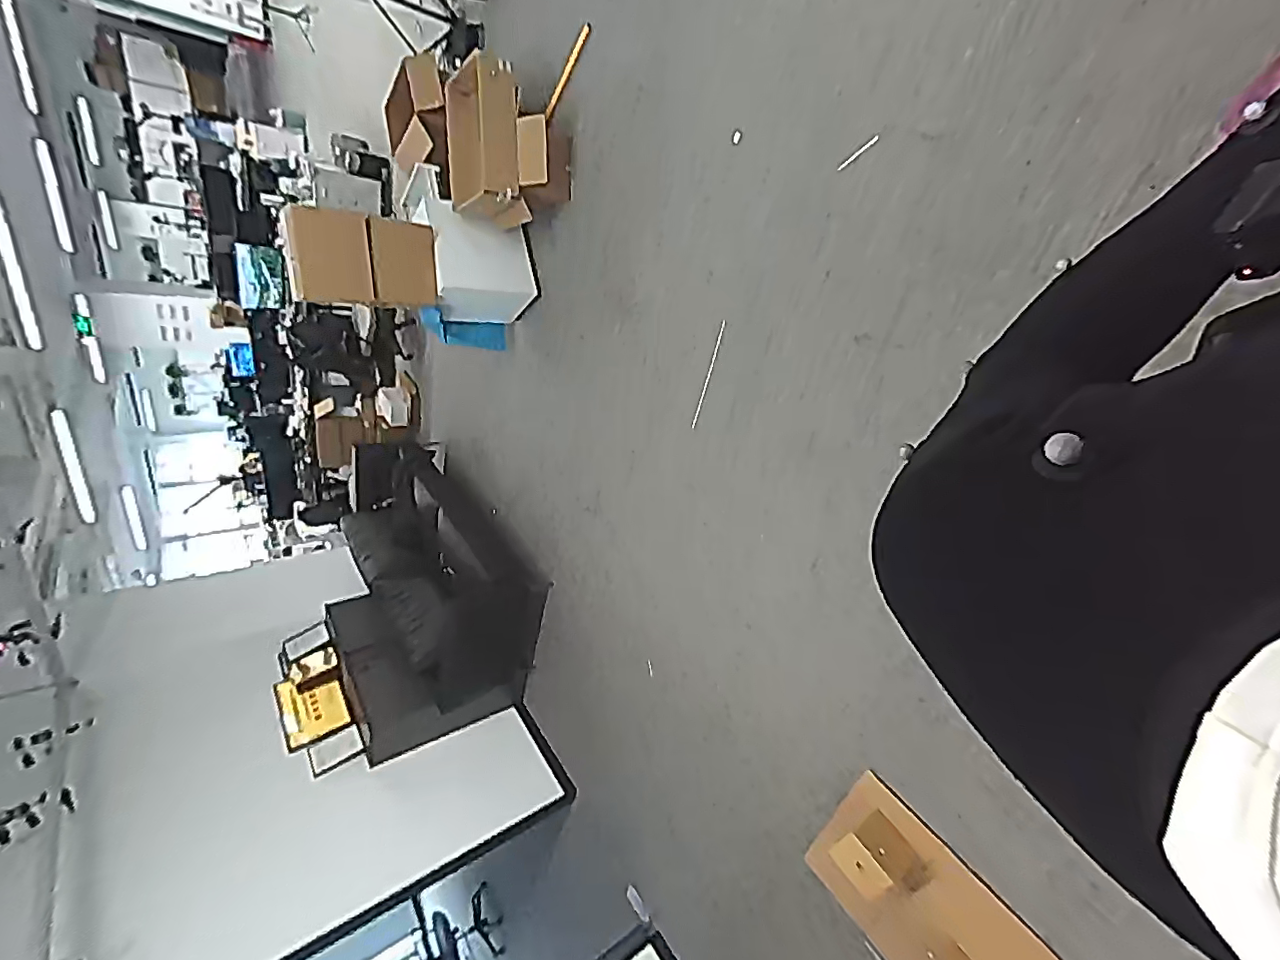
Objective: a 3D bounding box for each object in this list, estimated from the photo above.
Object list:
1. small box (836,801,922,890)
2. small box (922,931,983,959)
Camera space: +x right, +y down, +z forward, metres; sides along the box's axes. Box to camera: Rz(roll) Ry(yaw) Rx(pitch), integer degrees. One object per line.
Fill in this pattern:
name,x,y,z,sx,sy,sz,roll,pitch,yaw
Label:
small box,0.817,1.239,1.849,0.179,0.176,0.168,46,131,35
small box,0.996,1.578,1.691,0.179,0.176,0.168,47,131,37
